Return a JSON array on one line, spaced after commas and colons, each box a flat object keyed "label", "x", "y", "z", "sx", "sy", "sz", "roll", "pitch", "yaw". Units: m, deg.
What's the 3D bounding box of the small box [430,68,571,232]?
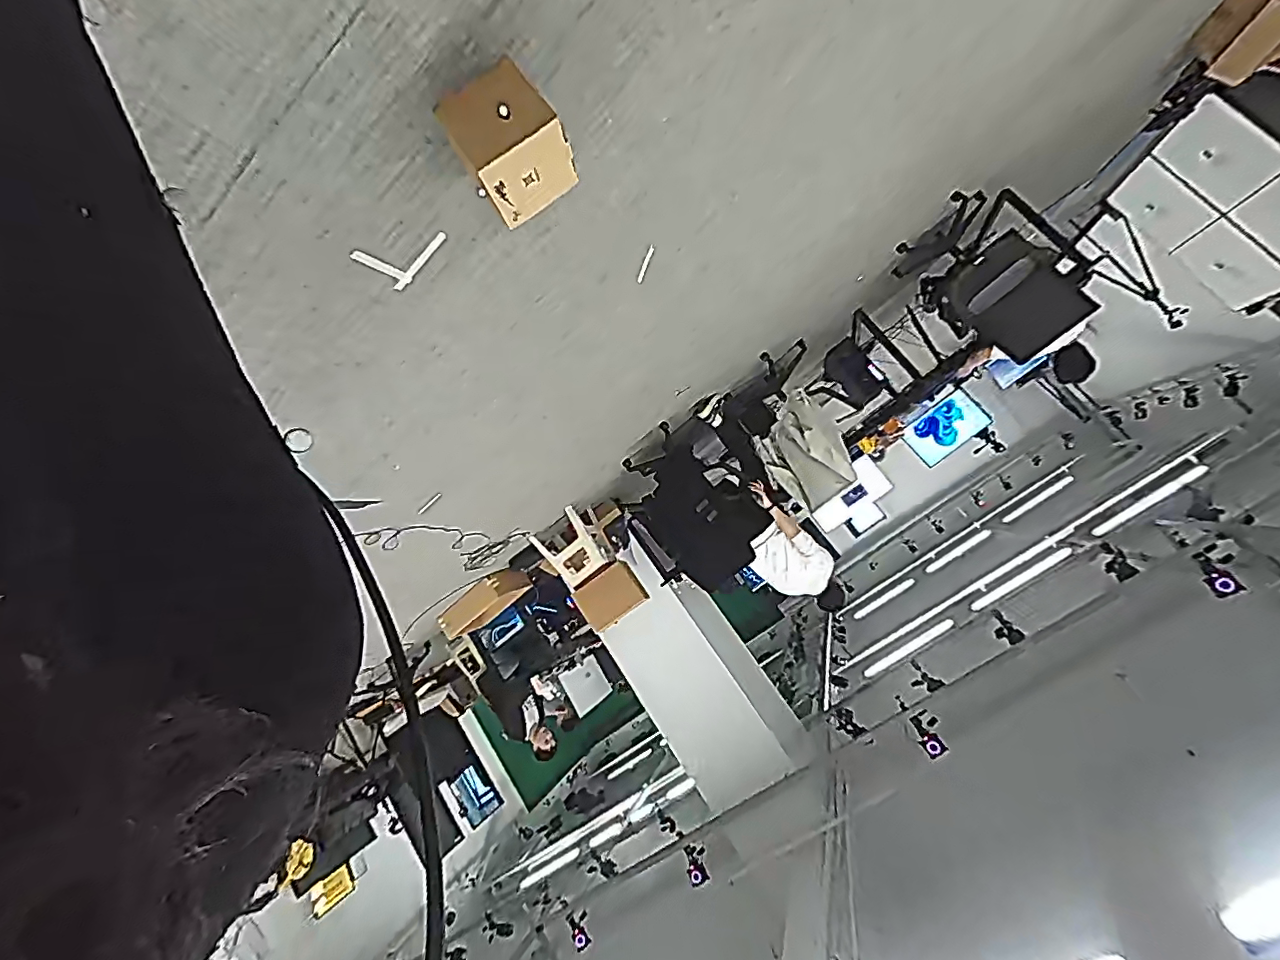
[{"label": "small box", "x": -0.263, "y": -0.632, "z": 1.040, "sx": 0.179, "sy": 0.176, "sz": 0.168, "roll": -36, "pitch": 167, "yaw": -2}]
